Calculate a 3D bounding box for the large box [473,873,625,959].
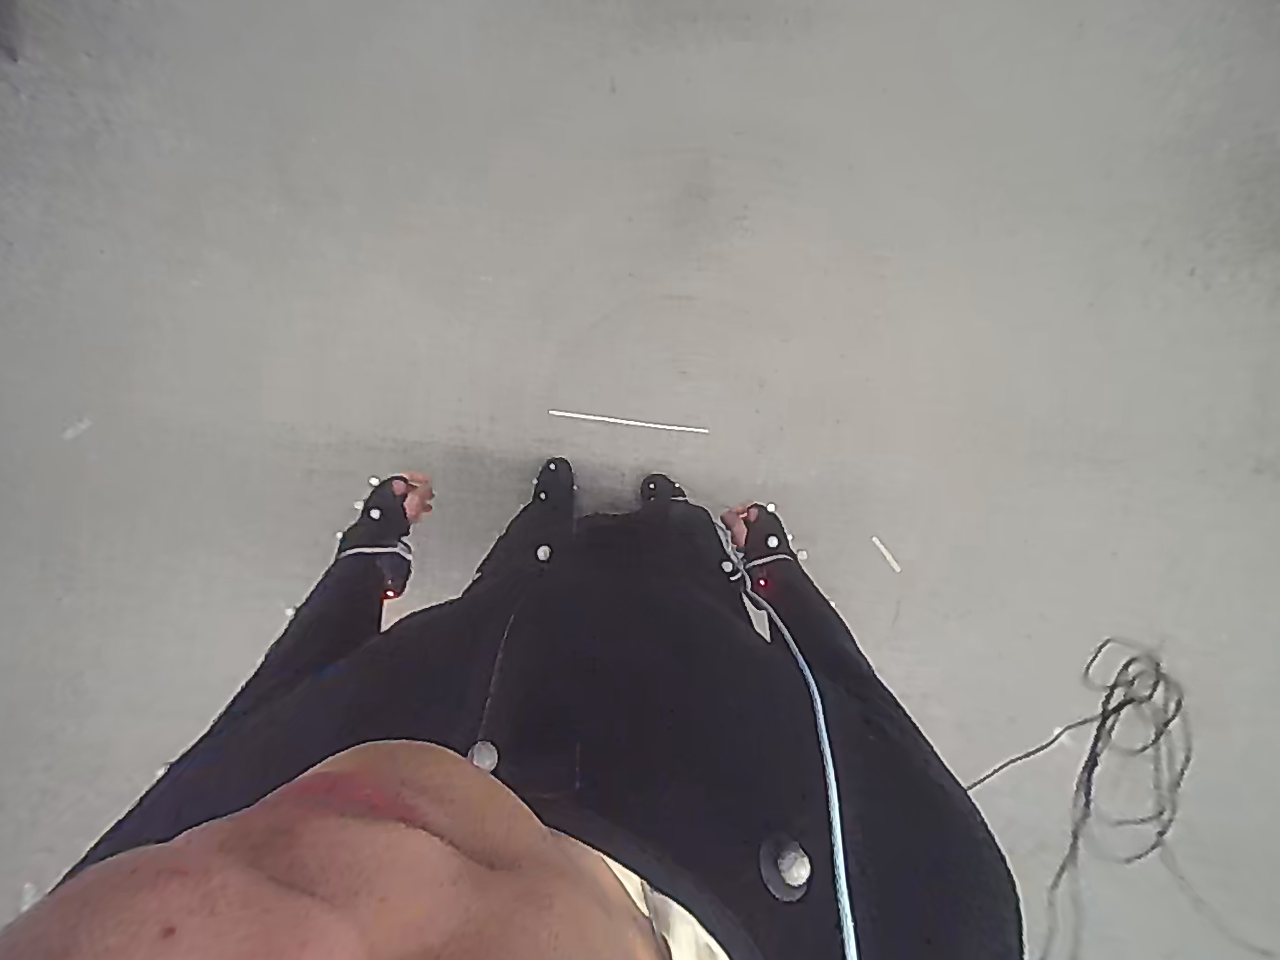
[{"bbox_3d":[-0.248,1.412,1.568,0.408,0.320,0.320,-2,93,-3],"label":"large box"}]
